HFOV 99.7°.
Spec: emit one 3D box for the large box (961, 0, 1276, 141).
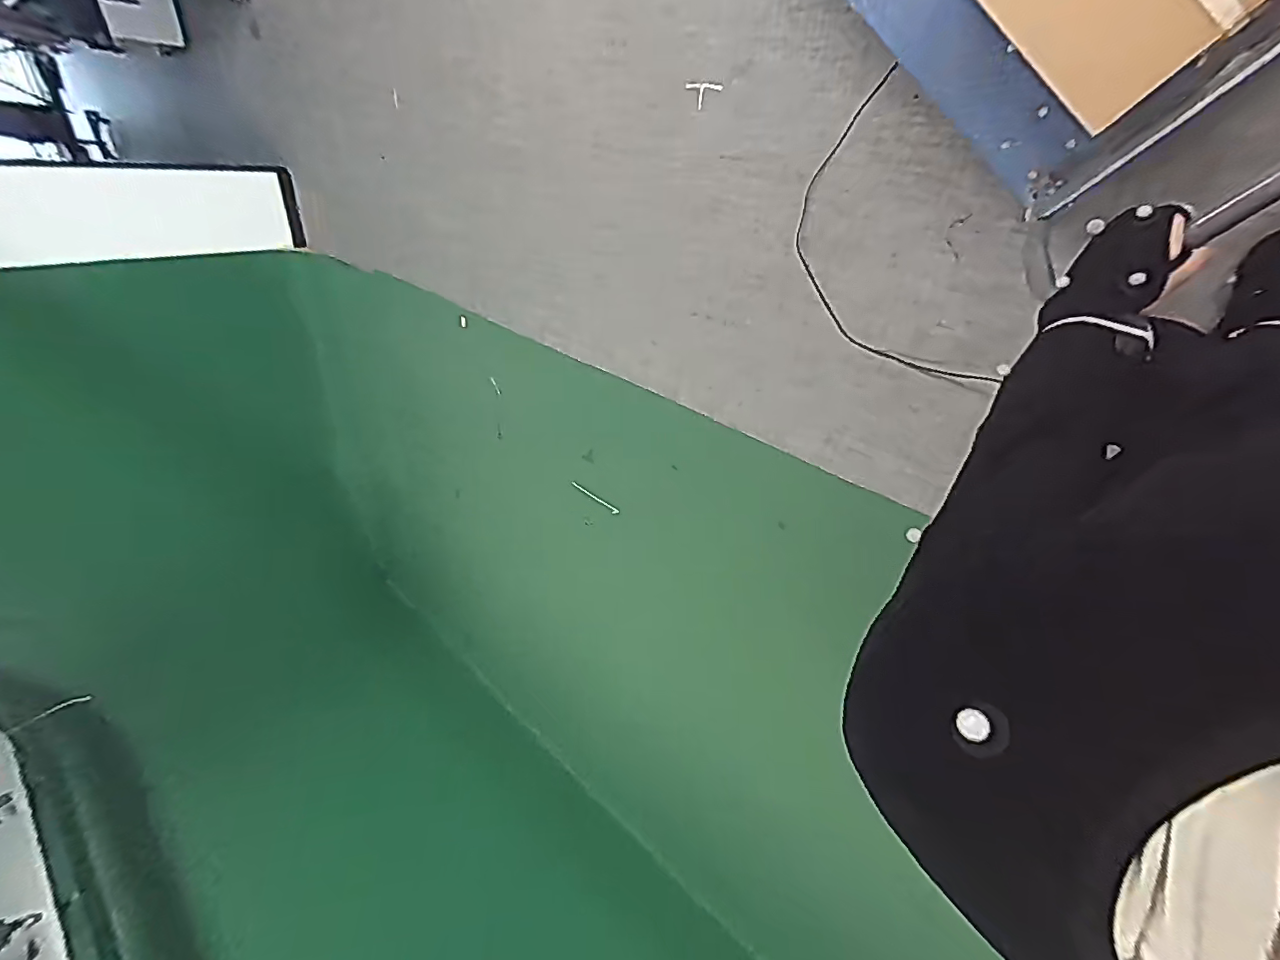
[{"bbox_3d":[0.708,-0.781,0.788,0.408,0.320,0.320,51,138,2],"label":"large box"}]
